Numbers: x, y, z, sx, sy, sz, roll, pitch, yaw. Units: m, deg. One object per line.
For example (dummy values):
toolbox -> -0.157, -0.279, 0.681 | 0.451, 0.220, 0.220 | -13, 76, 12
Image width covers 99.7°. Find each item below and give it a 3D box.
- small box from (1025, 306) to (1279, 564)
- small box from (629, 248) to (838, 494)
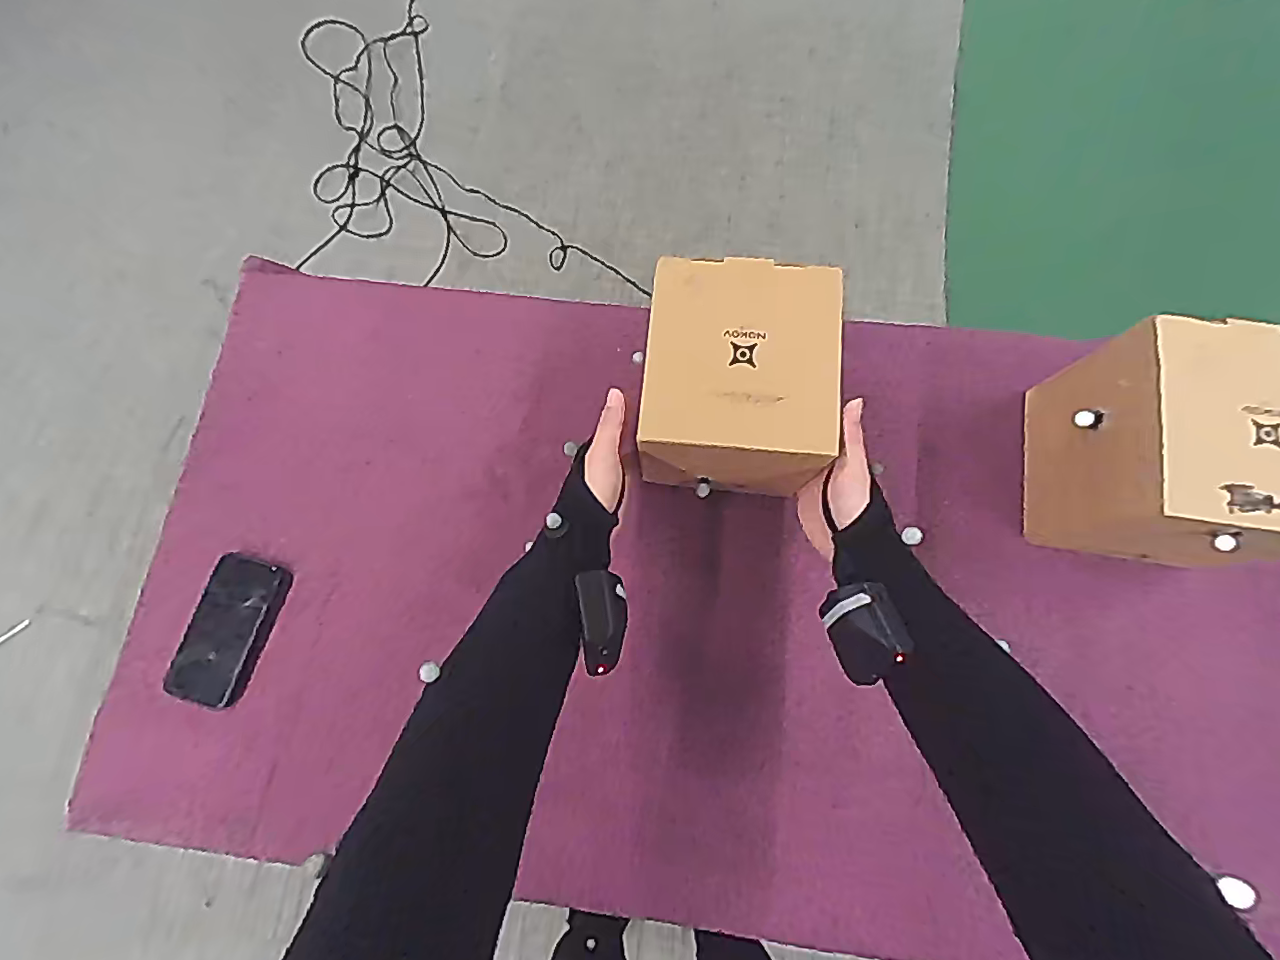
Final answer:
small box -> 0.488, -0.029, 0.496 | 0.168, 0.176, 0.179 | 9, 76, 5
small box -> 0.084, -0.095, 0.530 | 0.168, 0.176, 0.179 | 5, 77, 4
